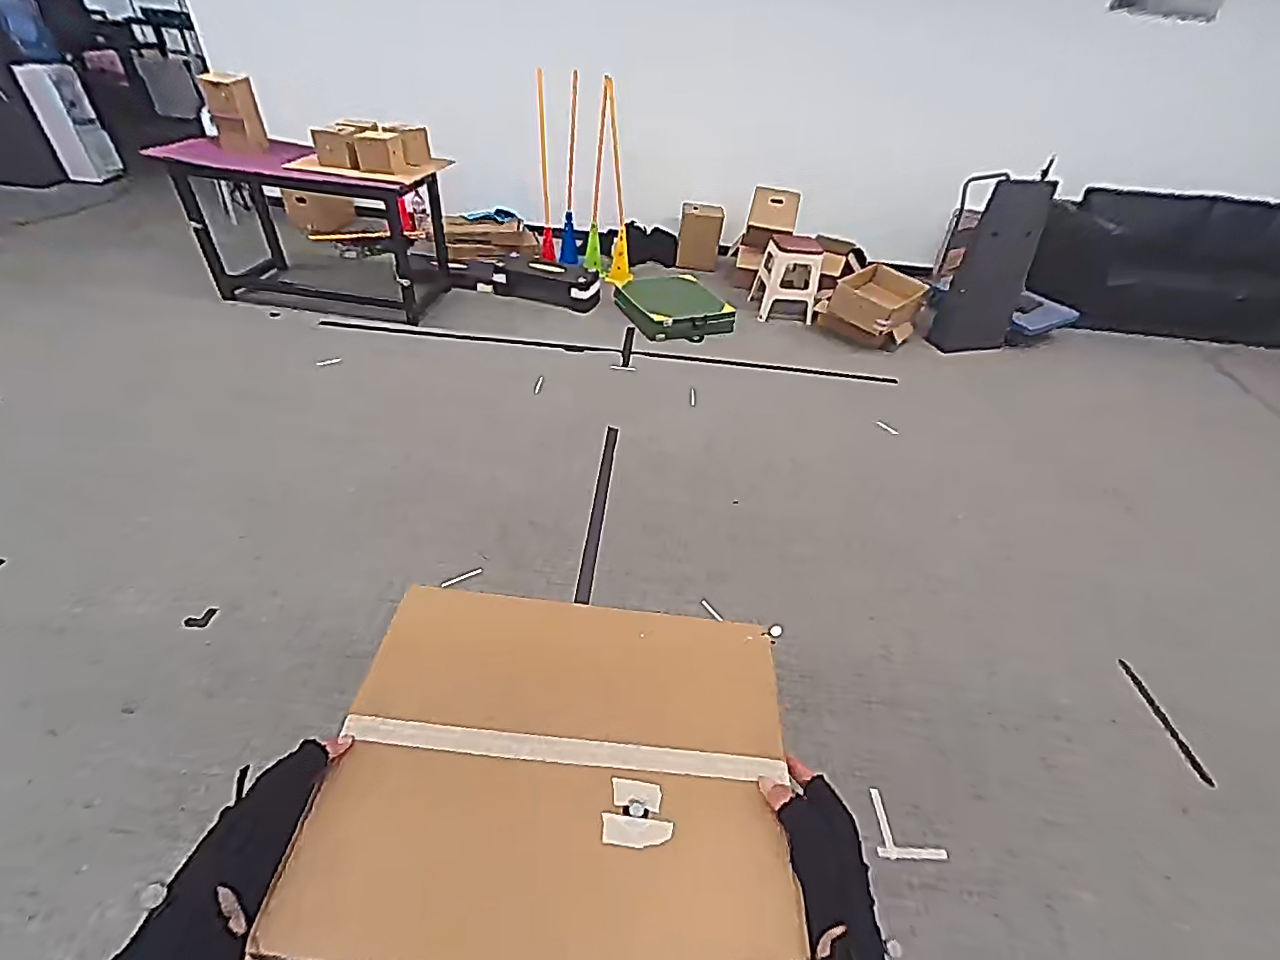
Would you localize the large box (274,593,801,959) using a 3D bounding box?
[{"bbox_3d":[-0.082,0.360,0.609,0.408,0.320,0.320,7,44,-1],"label":"large box"}]
